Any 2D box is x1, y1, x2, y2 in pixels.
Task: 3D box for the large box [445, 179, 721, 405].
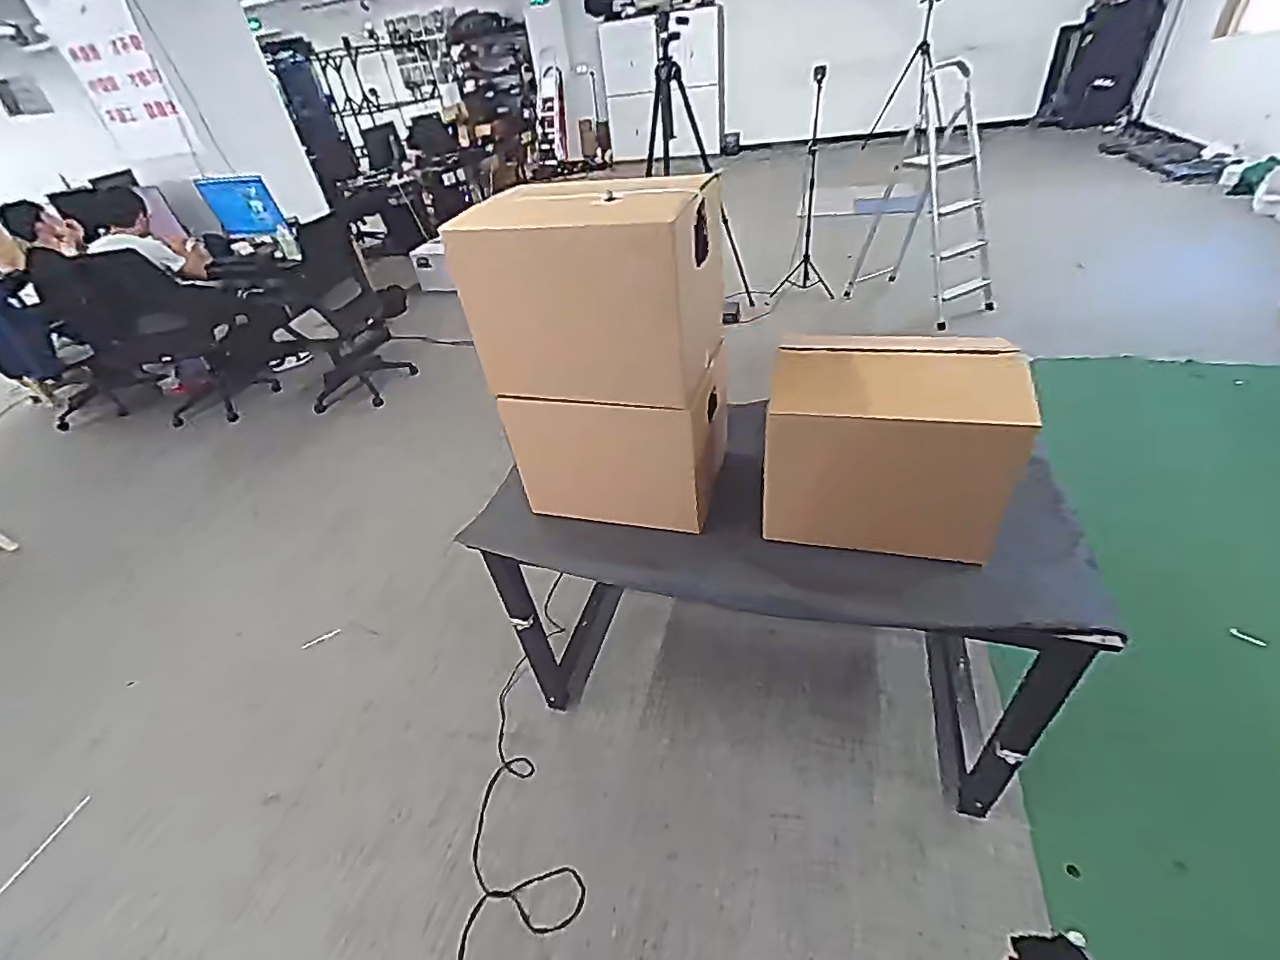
[{"bbox_3d":[-0.076,-0.362,1.022,0.408,0.320,0.320,8,42,17],"label":"large box"}]
